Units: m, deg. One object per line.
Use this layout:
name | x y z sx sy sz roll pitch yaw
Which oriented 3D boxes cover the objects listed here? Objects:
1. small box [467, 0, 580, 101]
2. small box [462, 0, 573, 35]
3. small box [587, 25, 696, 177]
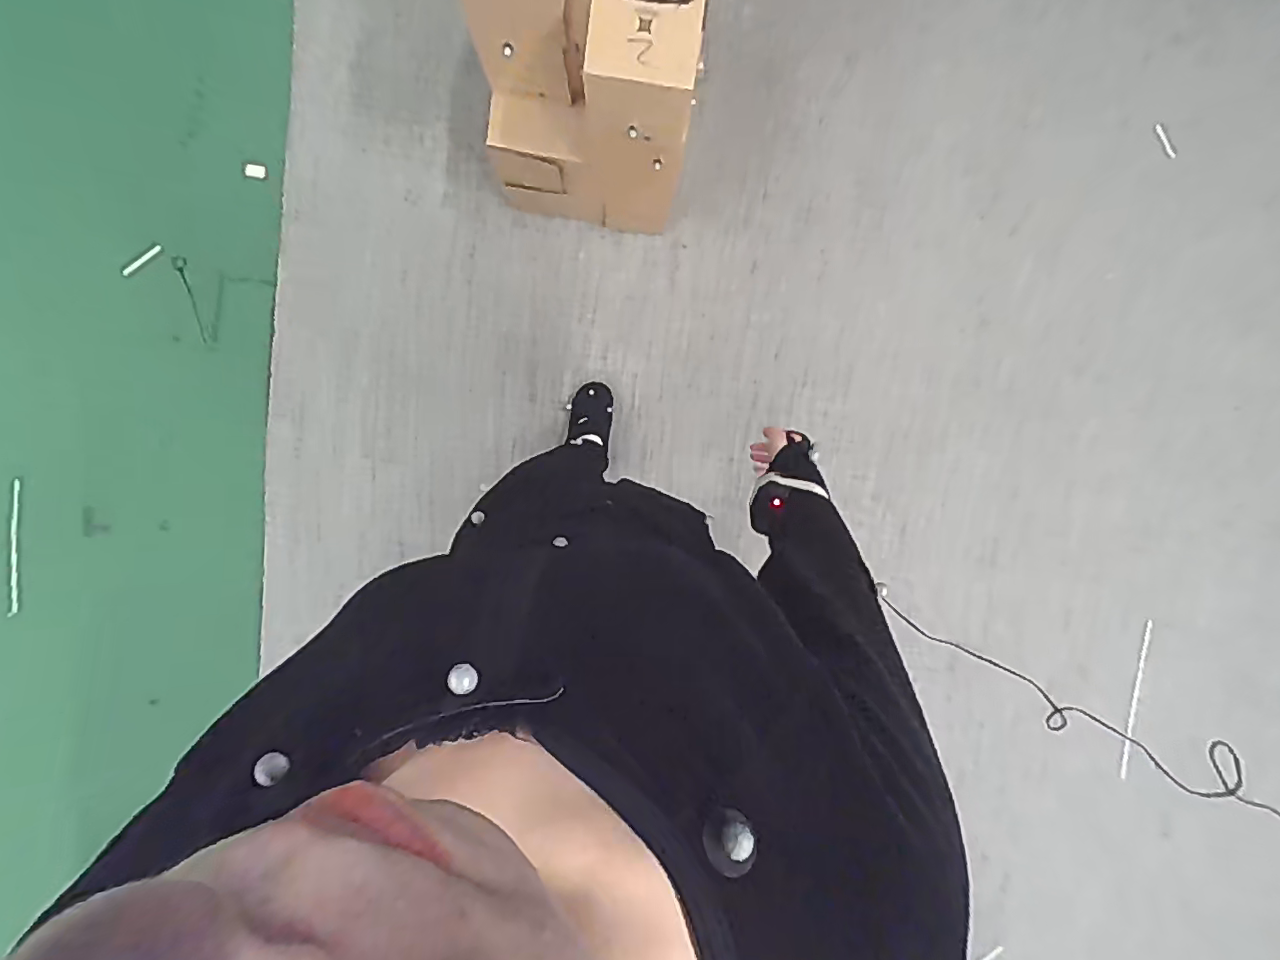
small box | -0.207 -0.858 1.005 0.168 0.176 0.179 8 93 -2
small box | -0.197 -0.841 0.839 0.179 0.176 0.168 8 94 -1
small box | 0.000 -0.701 1.023 0.179 0.176 0.168 7 94 -2
